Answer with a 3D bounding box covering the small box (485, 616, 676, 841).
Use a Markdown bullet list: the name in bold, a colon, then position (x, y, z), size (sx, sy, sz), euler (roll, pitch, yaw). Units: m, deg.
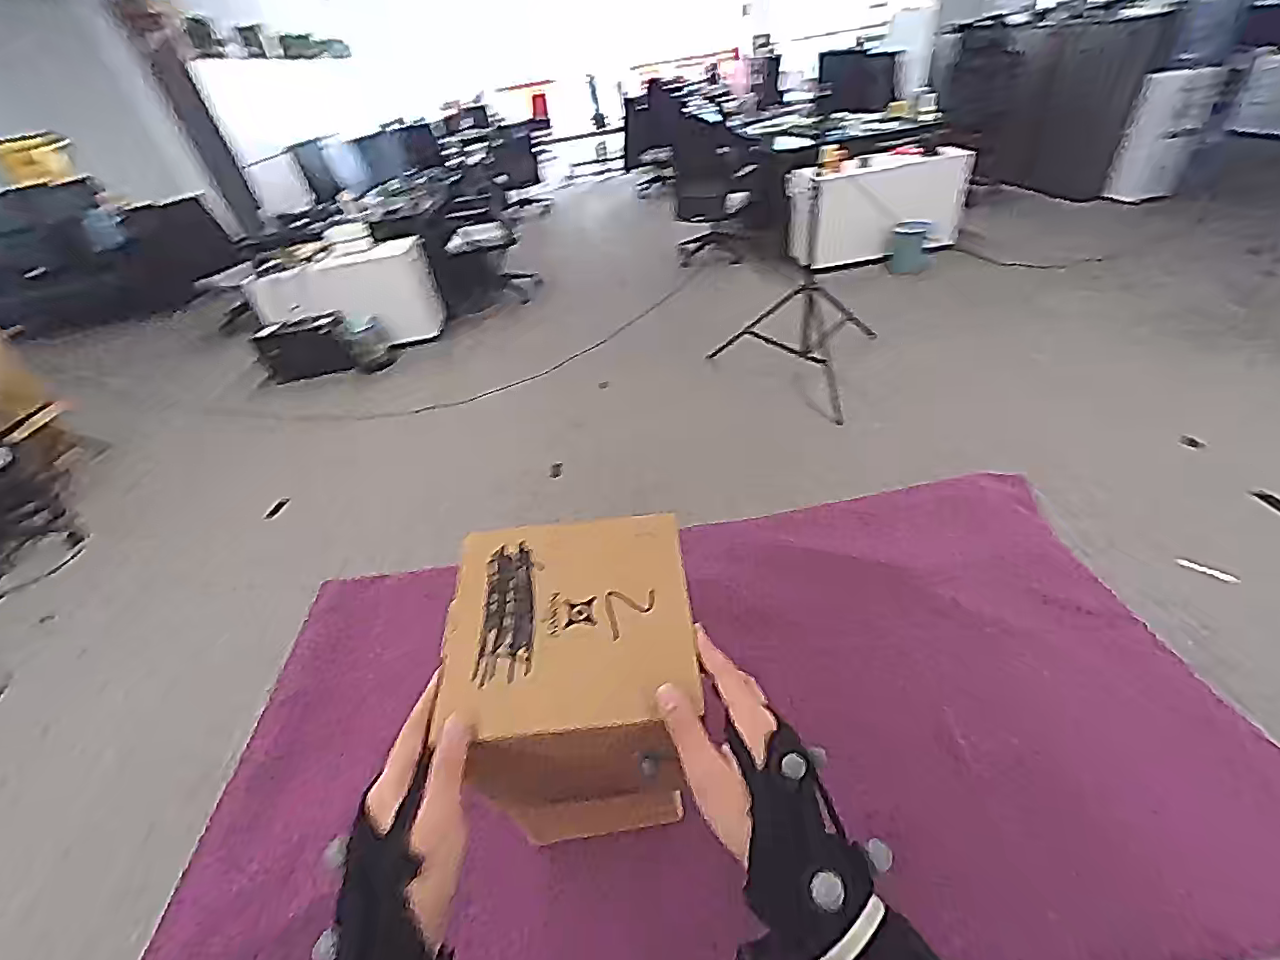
- **small box**: position (-0.062, 0.289, 0.628), size (0.179, 0.176, 0.168), euler (-10, 38, -1)
